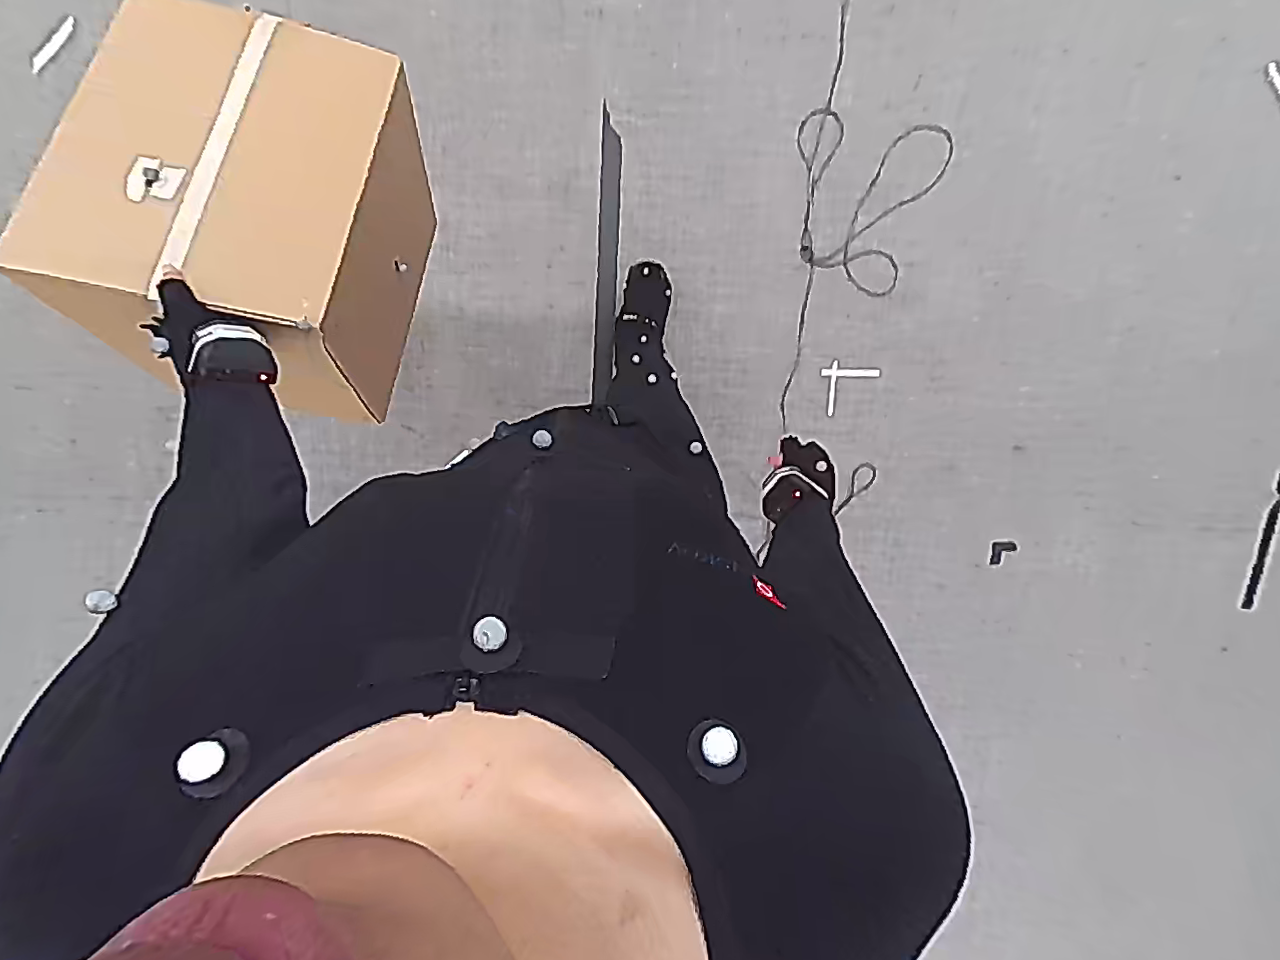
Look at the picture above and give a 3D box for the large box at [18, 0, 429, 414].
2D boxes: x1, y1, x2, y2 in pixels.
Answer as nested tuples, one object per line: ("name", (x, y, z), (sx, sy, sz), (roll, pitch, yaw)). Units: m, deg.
("large box", (-0.518, -0.353, 0.782), (0.320, 0.320, 0.408), (9, 75, -9))
